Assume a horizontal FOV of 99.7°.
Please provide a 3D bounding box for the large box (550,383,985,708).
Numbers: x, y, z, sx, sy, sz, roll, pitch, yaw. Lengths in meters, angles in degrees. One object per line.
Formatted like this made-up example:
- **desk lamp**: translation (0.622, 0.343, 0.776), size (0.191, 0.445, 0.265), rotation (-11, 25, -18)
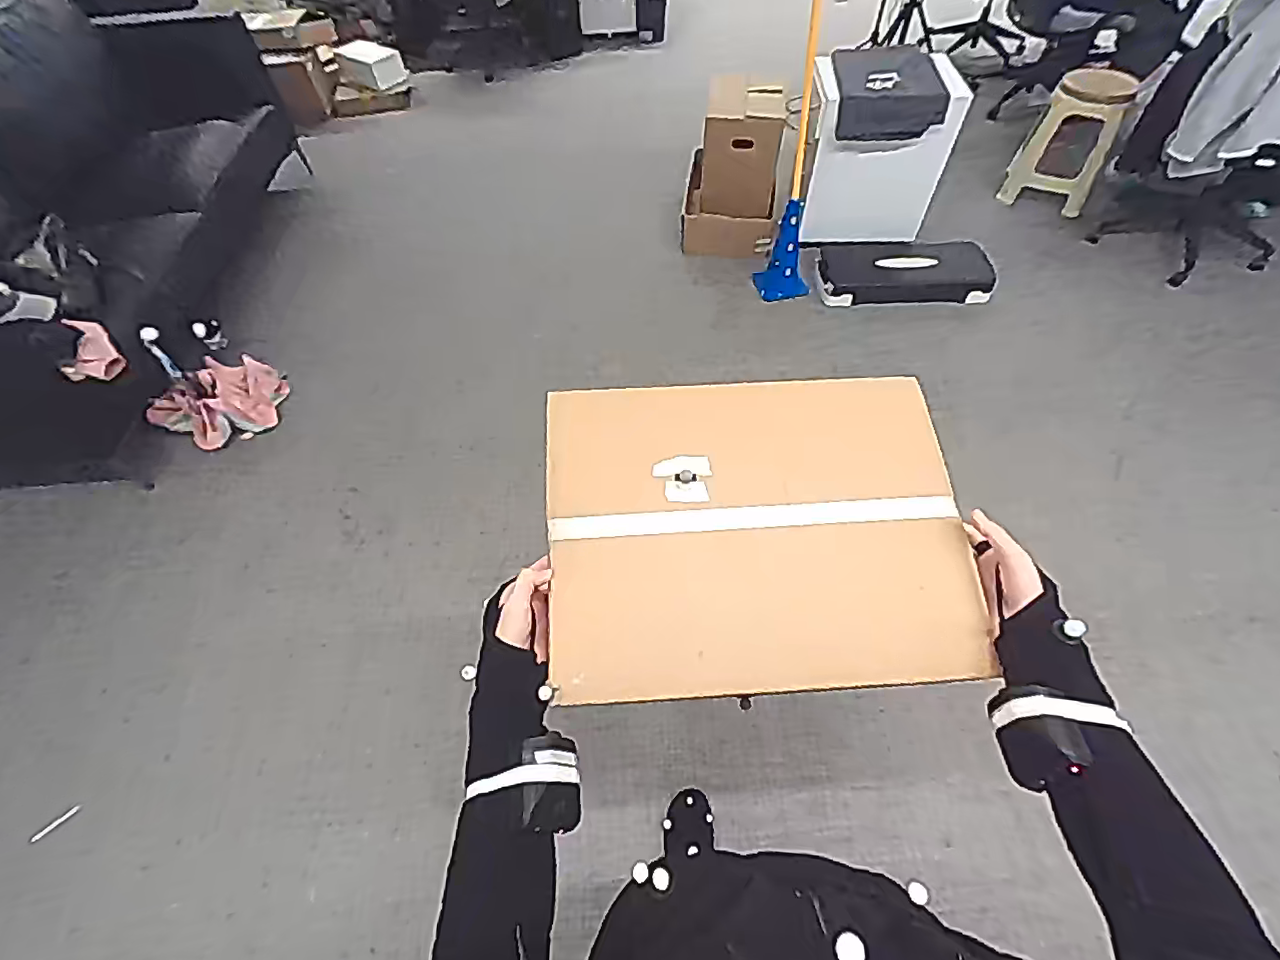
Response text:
- **large box**: translation (0.112, 0.101, 0.681), size (0.408, 0.320, 0.320), rotation (-4, 67, -1)
